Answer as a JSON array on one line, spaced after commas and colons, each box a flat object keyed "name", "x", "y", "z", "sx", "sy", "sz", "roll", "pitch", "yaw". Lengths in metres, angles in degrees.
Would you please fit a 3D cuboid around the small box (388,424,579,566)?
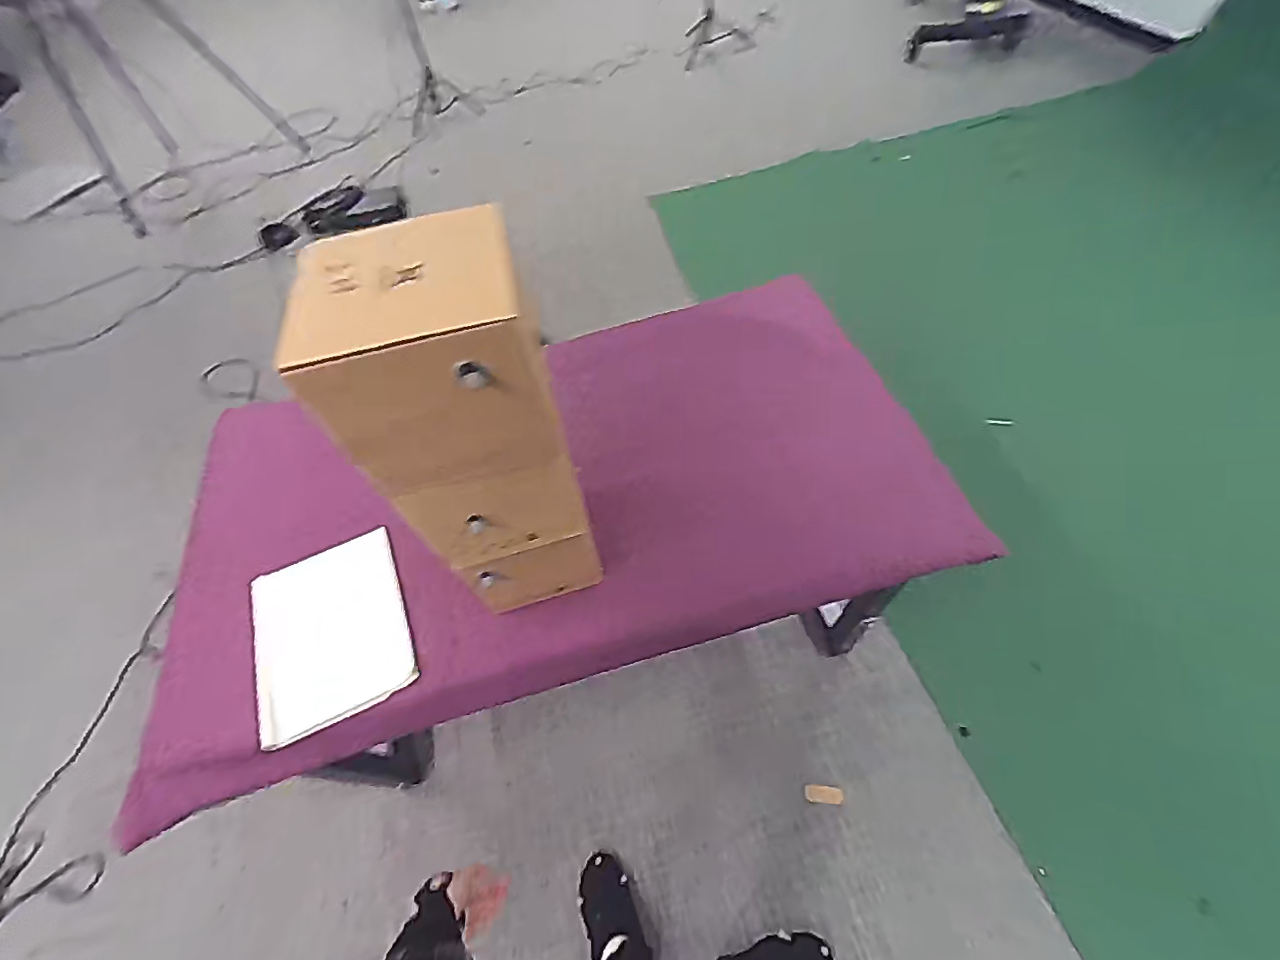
[{"name": "small box", "x": -0.177, "y": -0.017, "z": 0.635, "sx": 0.168, "sy": 0.176, "sz": 0.179, "roll": -16, "pitch": 55, "yaw": -4}]

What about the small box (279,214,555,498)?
[{"name": "small box", "x": -0.182, "y": -0.107, "z": 0.497, "sx": 0.179, "sy": 0.176, "sz": 0.168, "roll": -14, "pitch": 54, "yaw": -3}]
